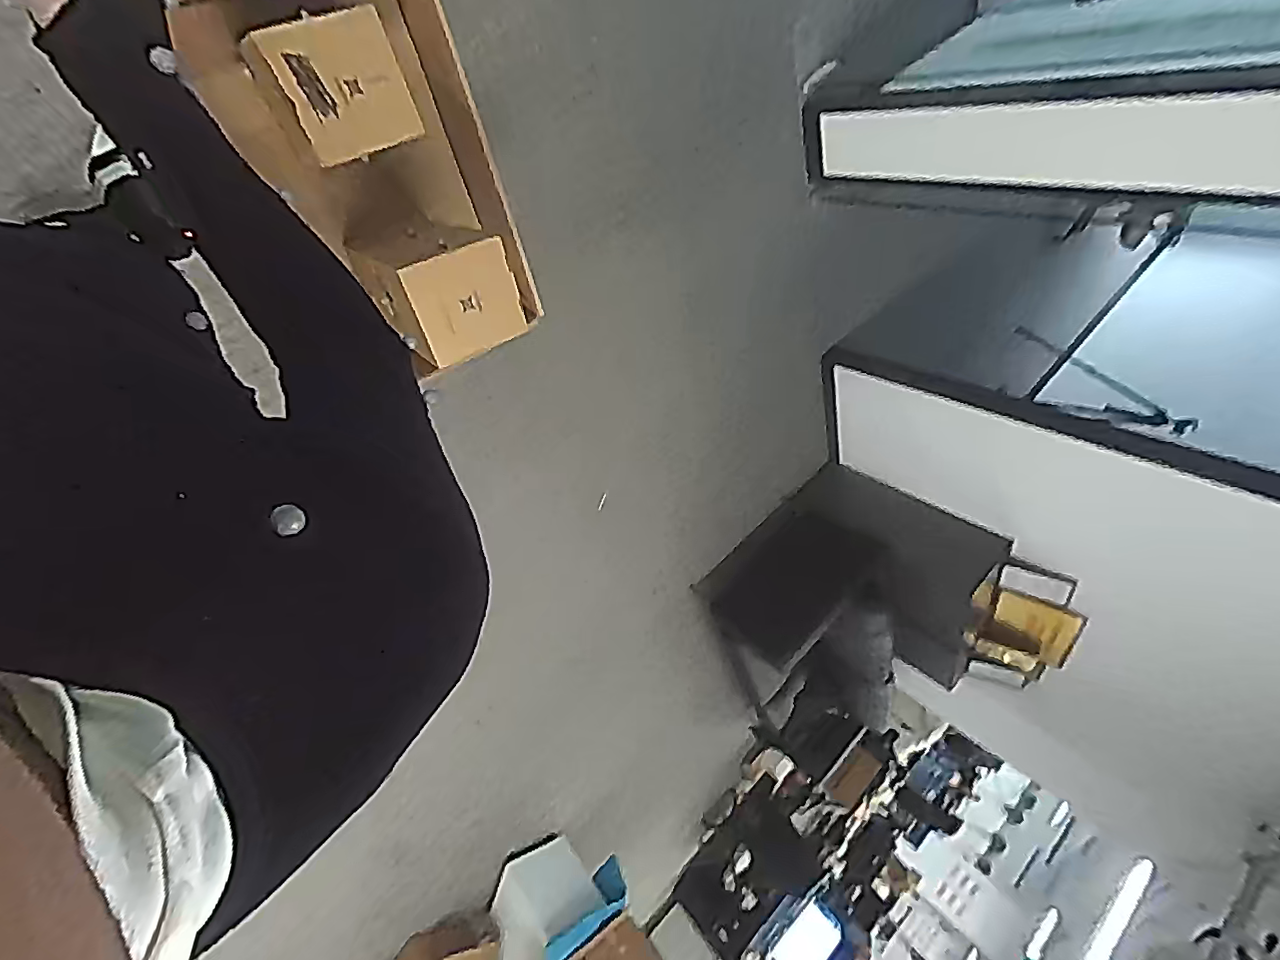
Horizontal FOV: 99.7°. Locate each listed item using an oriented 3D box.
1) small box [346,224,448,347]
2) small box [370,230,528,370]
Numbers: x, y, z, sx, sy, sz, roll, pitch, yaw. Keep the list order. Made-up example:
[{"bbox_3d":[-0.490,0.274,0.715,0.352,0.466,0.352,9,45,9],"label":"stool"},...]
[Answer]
[{"bbox_3d":[-0.427,-0.381,1.041,0.179,0.176,0.168,-32,133,-25],"label":"small box"},{"bbox_3d":[-0.326,-0.317,0.930,0.179,0.176,0.168,-33,133,-25],"label":"small box"}]
